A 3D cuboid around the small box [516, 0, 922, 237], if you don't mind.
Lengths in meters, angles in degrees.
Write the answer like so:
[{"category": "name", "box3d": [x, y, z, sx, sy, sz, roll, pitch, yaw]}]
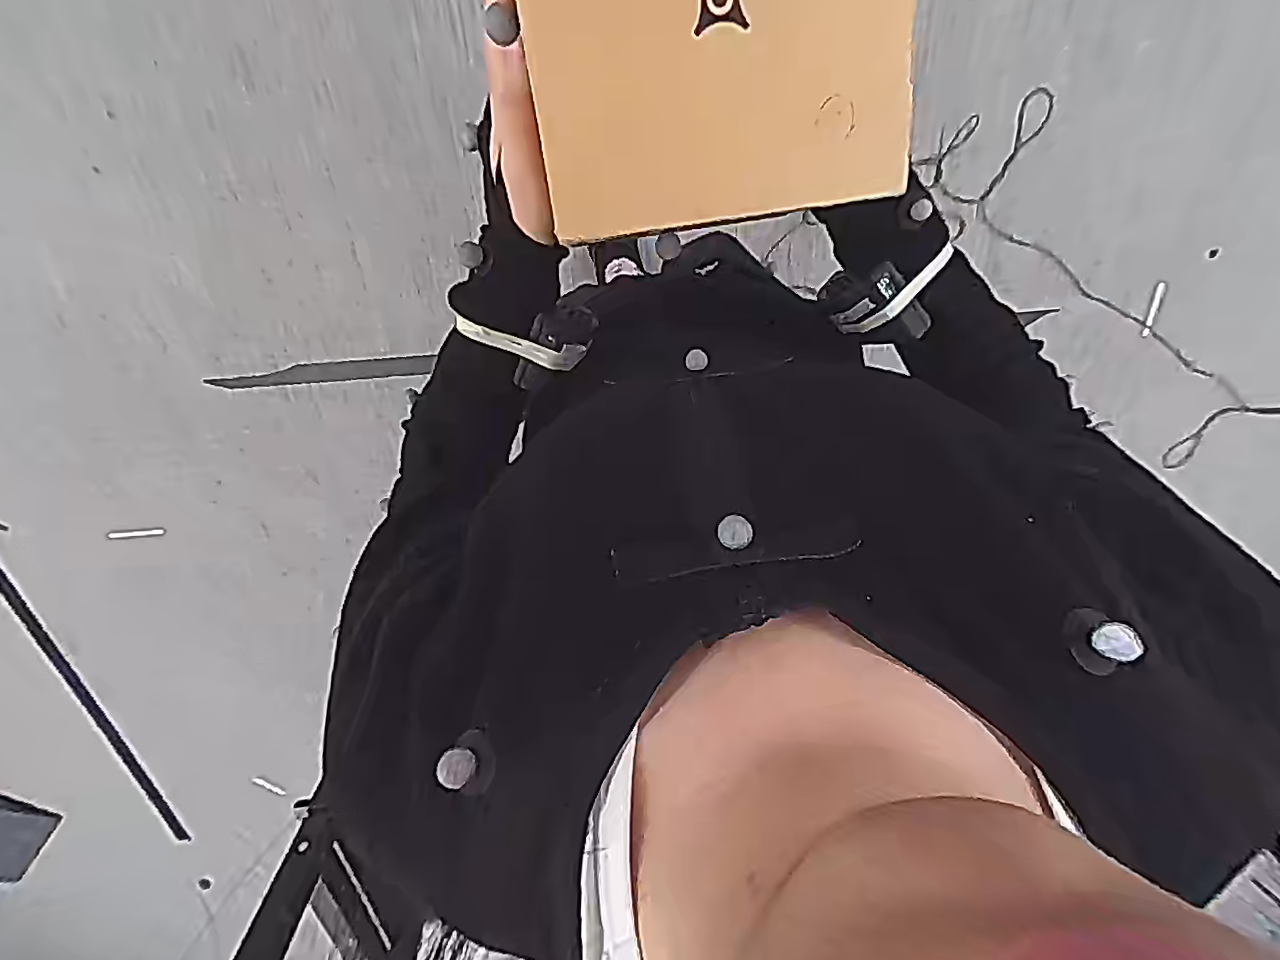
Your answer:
[{"category": "small box", "box3d": [0.027, -0.232, 0.286, 0.168, 0.176, 0.179, -9, 112, -1]}]
